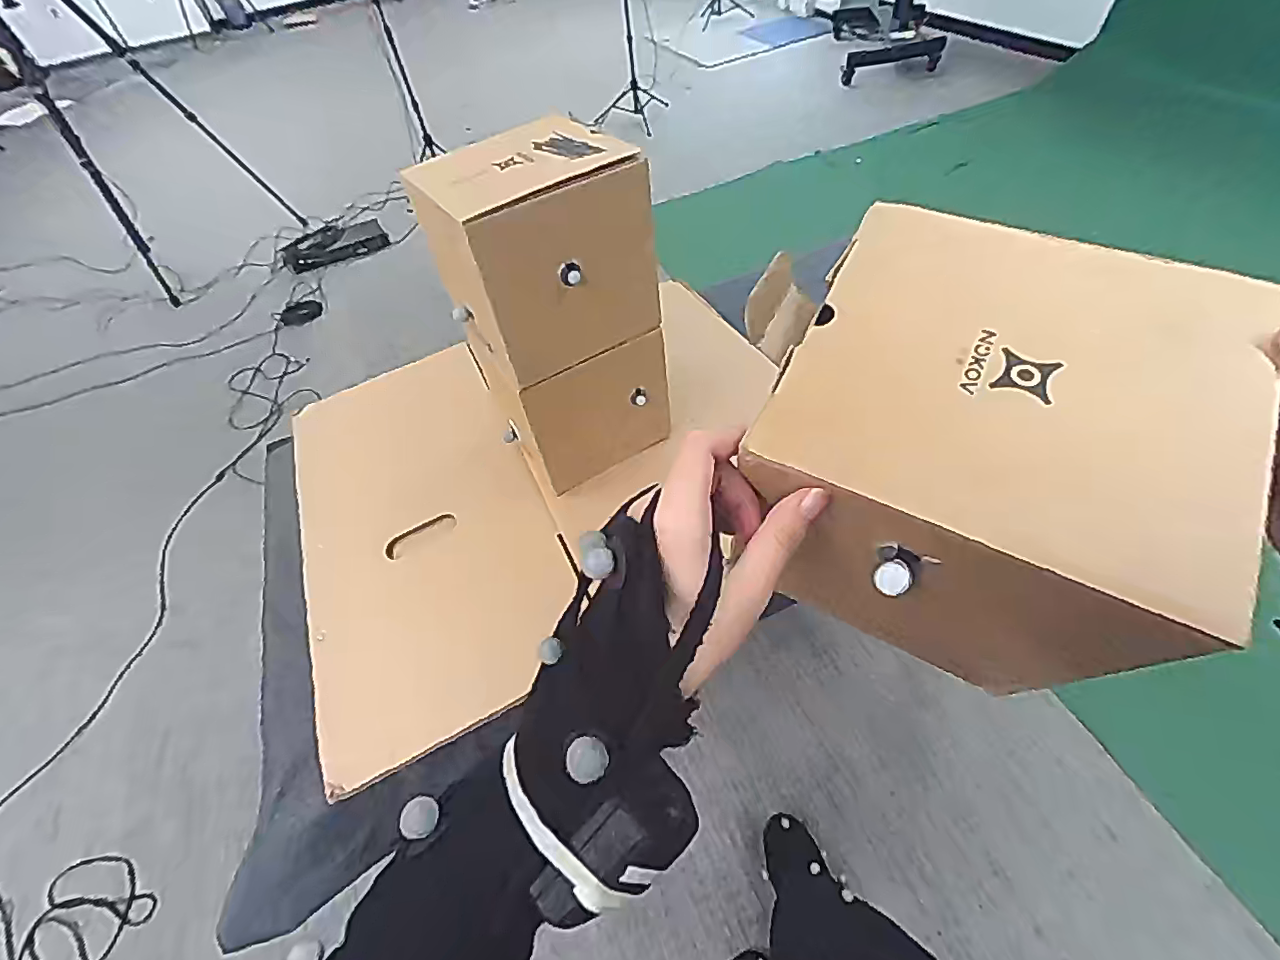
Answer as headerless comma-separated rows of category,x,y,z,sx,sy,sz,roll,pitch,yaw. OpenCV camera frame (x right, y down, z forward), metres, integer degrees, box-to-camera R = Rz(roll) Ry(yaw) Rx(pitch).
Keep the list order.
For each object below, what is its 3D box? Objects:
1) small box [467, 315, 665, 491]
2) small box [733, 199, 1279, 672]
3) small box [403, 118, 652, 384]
small box,-0.081,-0.121,0.666,0.179,0.176,0.168,-30,52,-16
small box,0.164,-0.011,0.297,0.179,0.176,0.168,24,69,19
small box,-0.099,-0.229,0.543,0.179,0.176,0.168,-30,52,-17
